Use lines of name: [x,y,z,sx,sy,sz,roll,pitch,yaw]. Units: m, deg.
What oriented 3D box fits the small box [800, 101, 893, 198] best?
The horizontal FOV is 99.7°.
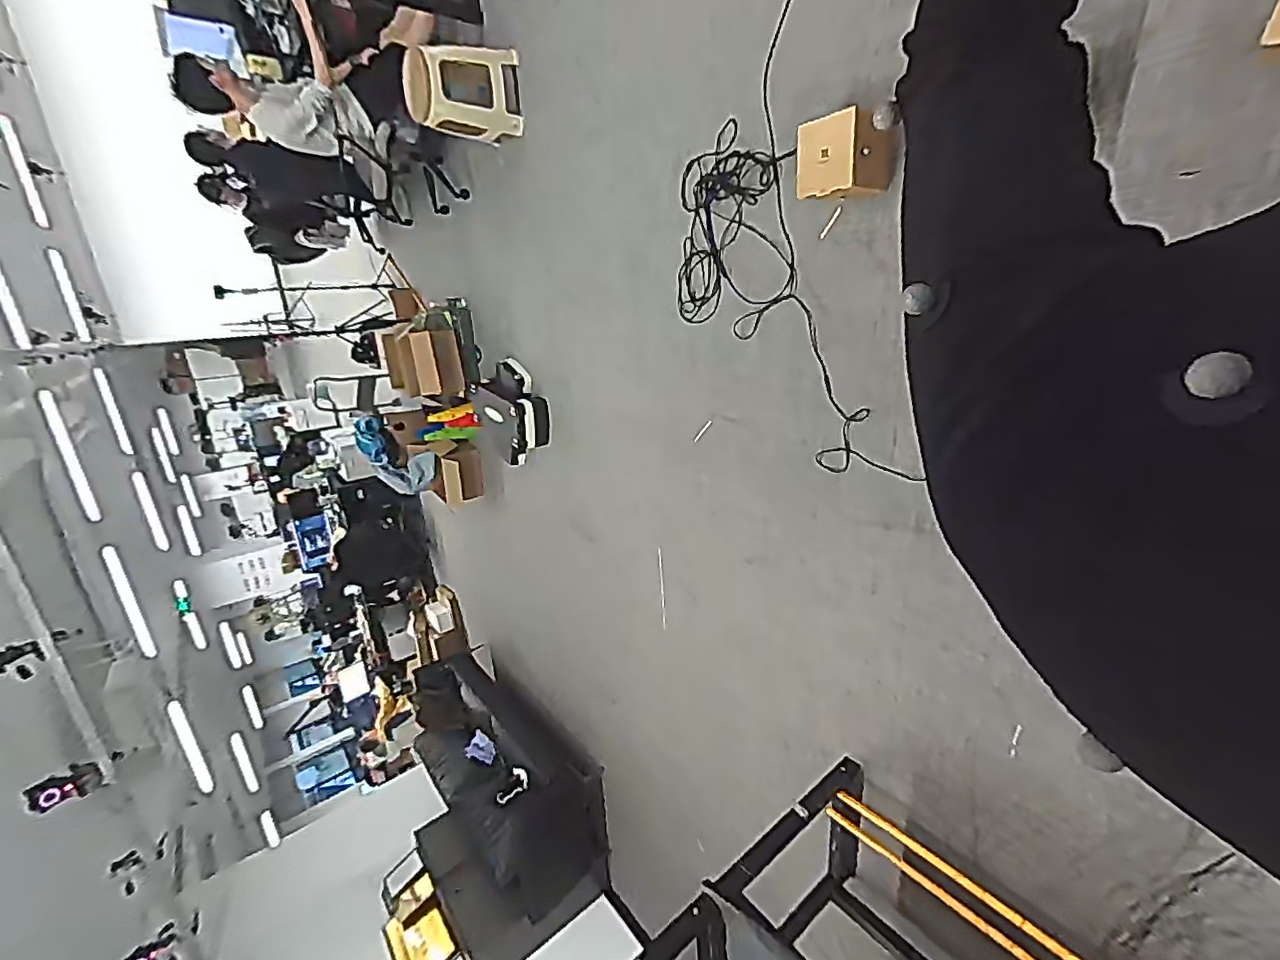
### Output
small box: [0.538,-0.848,1.407,0.168,0.176,0.179,18,119,50]
